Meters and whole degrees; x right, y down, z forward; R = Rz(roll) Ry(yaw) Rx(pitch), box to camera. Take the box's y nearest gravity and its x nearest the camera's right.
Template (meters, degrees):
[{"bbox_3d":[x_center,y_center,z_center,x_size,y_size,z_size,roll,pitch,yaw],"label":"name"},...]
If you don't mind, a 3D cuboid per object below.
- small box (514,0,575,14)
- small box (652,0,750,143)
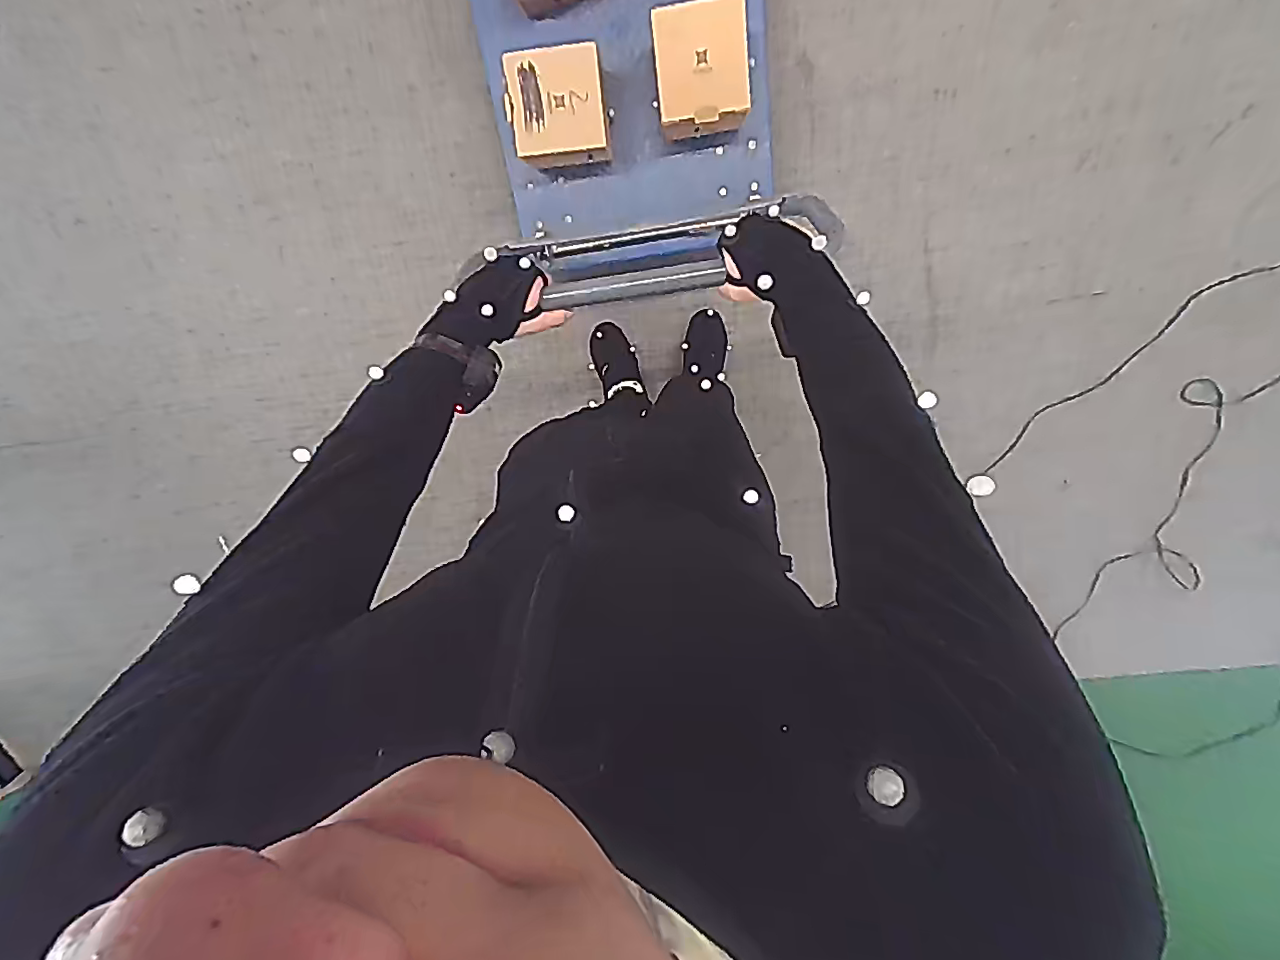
[{"bbox_3d":[-0.177,-0.982,0.968,0.168,0.176,0.179,-14,112,8],"label":"small box"},{"bbox_3d":[0.114,-0.778,1.045,0.168,0.176,0.179,-7,113,5],"label":"small box"}]
